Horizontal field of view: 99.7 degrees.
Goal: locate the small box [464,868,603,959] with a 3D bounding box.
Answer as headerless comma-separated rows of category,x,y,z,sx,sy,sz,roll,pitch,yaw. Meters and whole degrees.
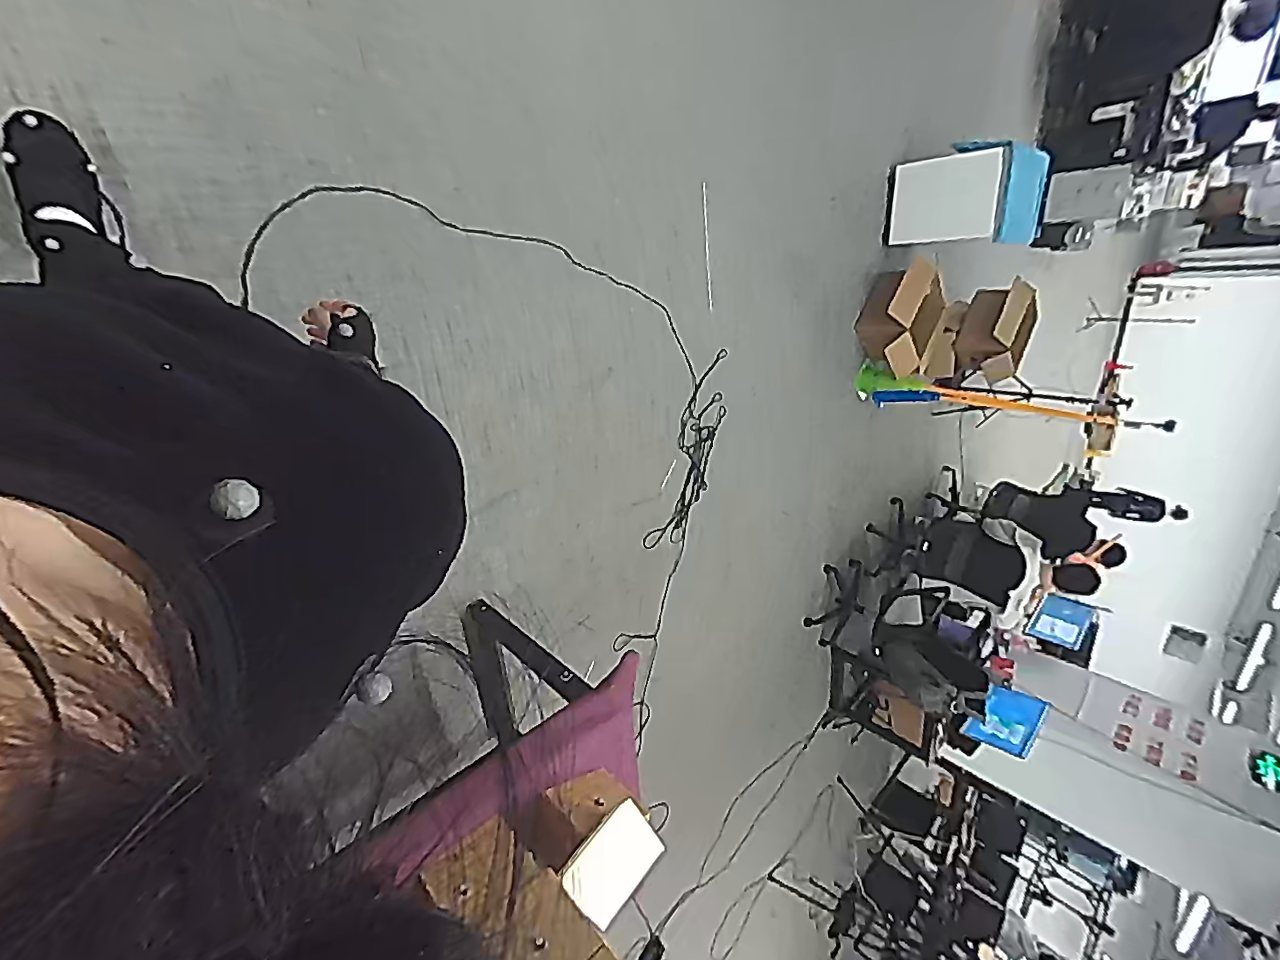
small box,-0.174,0.811,0.896,0.179,0.176,0.168,-21,118,-38
